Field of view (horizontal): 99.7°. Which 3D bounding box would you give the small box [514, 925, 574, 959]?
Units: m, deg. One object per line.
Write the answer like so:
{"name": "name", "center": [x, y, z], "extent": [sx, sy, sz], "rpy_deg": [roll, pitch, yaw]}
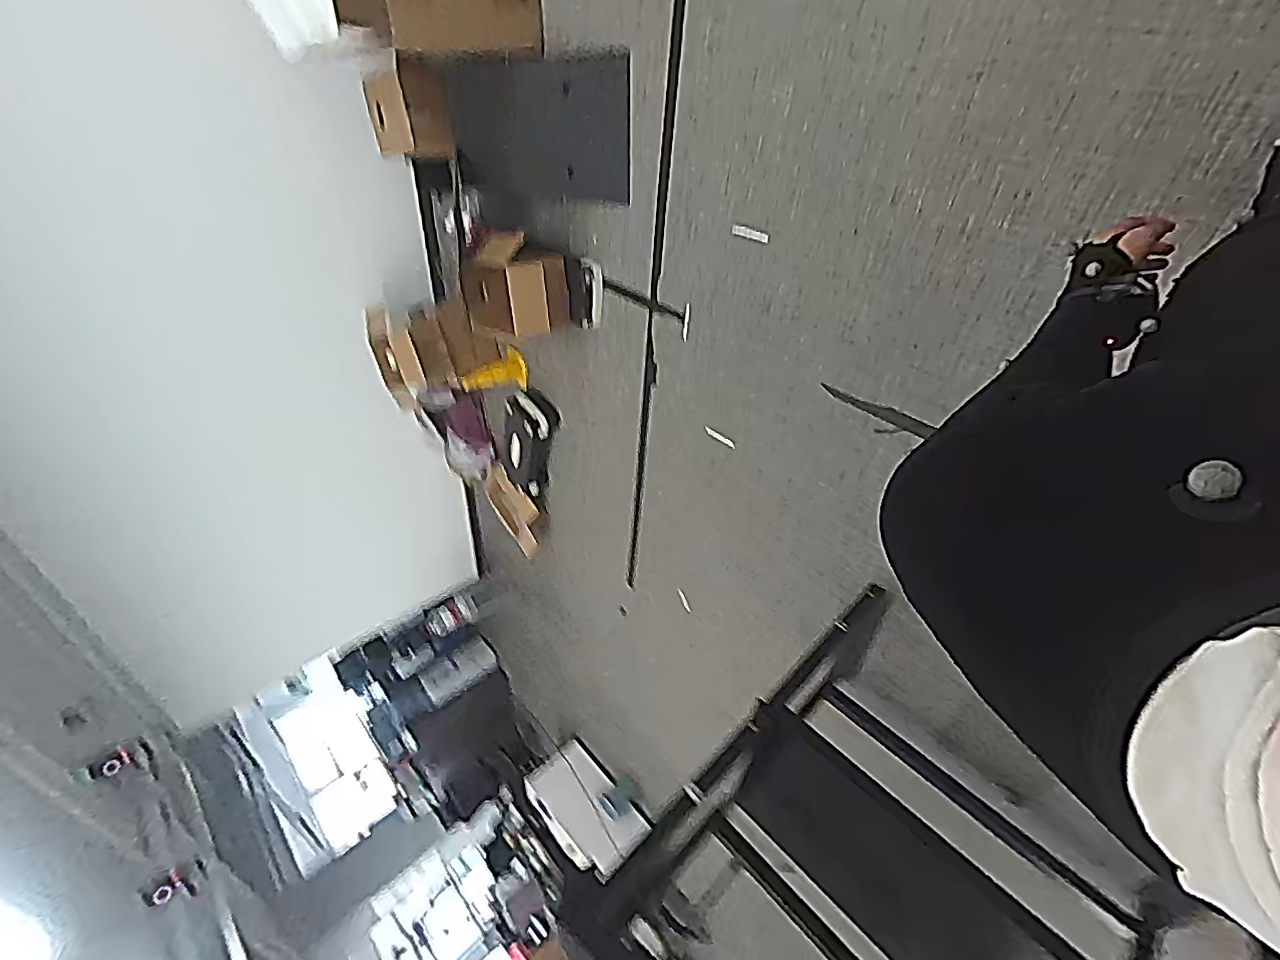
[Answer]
{"name": "small box", "center": [-0.209, 1.112, 1.157], "extent": [0.168, 0.176, 0.179], "rpy_deg": [34, 138, 31]}
